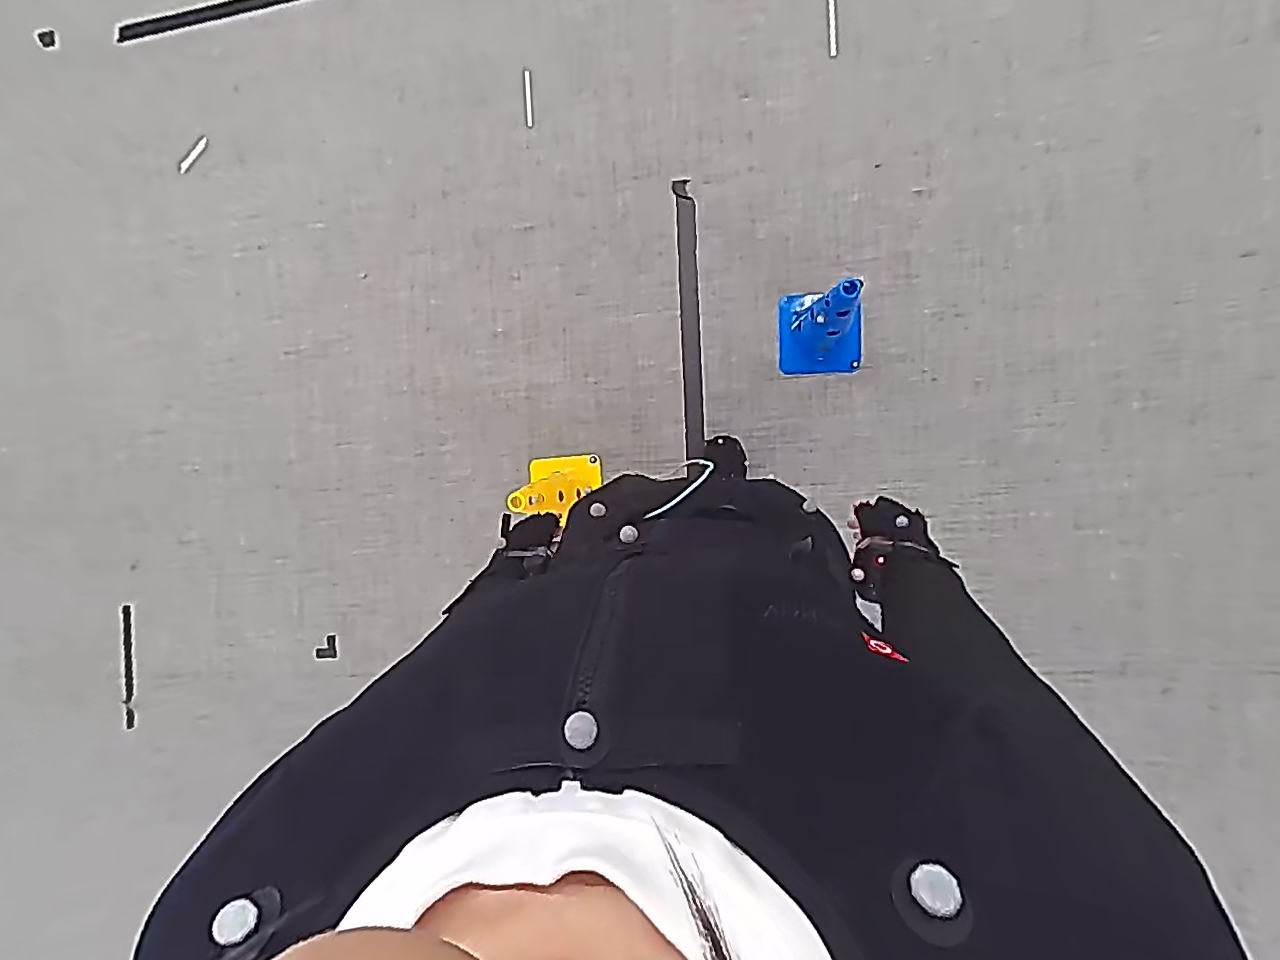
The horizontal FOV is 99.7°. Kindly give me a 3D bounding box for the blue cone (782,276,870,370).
[{"bbox_3d":[0.432,-0.371,1.199,0.192,0.380,0.193,2,91,9],"label":"blue cone"}]

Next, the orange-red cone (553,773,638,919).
[{"bbox_3d":[-0.137,0.904,1.303,0.199,0.360,0.198,2,90,11],"label":"orange-red cone"}]
